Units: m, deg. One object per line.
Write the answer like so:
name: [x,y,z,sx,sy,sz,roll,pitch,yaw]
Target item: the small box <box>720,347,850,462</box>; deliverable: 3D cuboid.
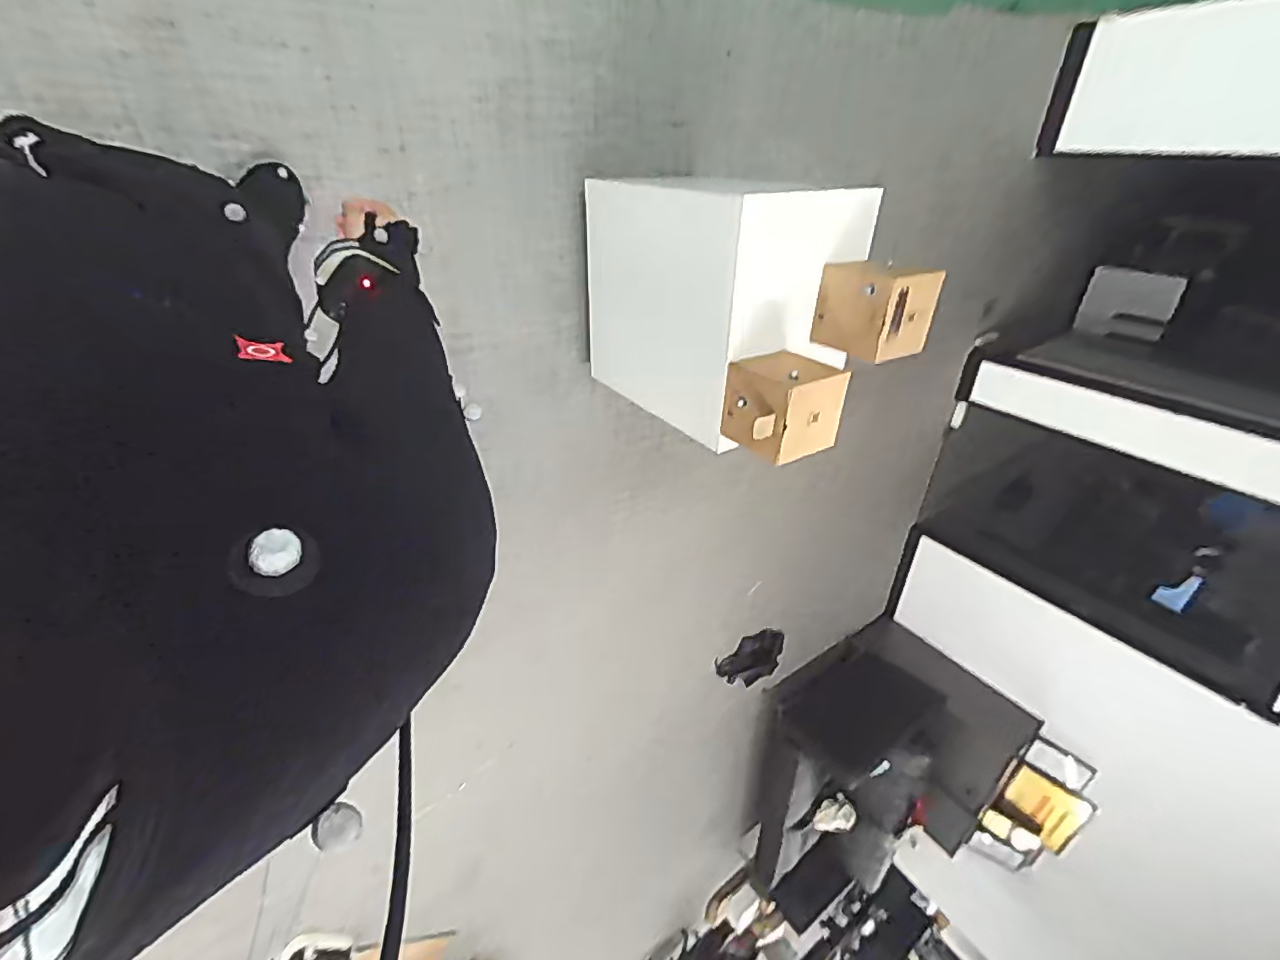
small box: [0.290,-0.162,1.107,0.179,0.176,0.168,-19,127,-30]
